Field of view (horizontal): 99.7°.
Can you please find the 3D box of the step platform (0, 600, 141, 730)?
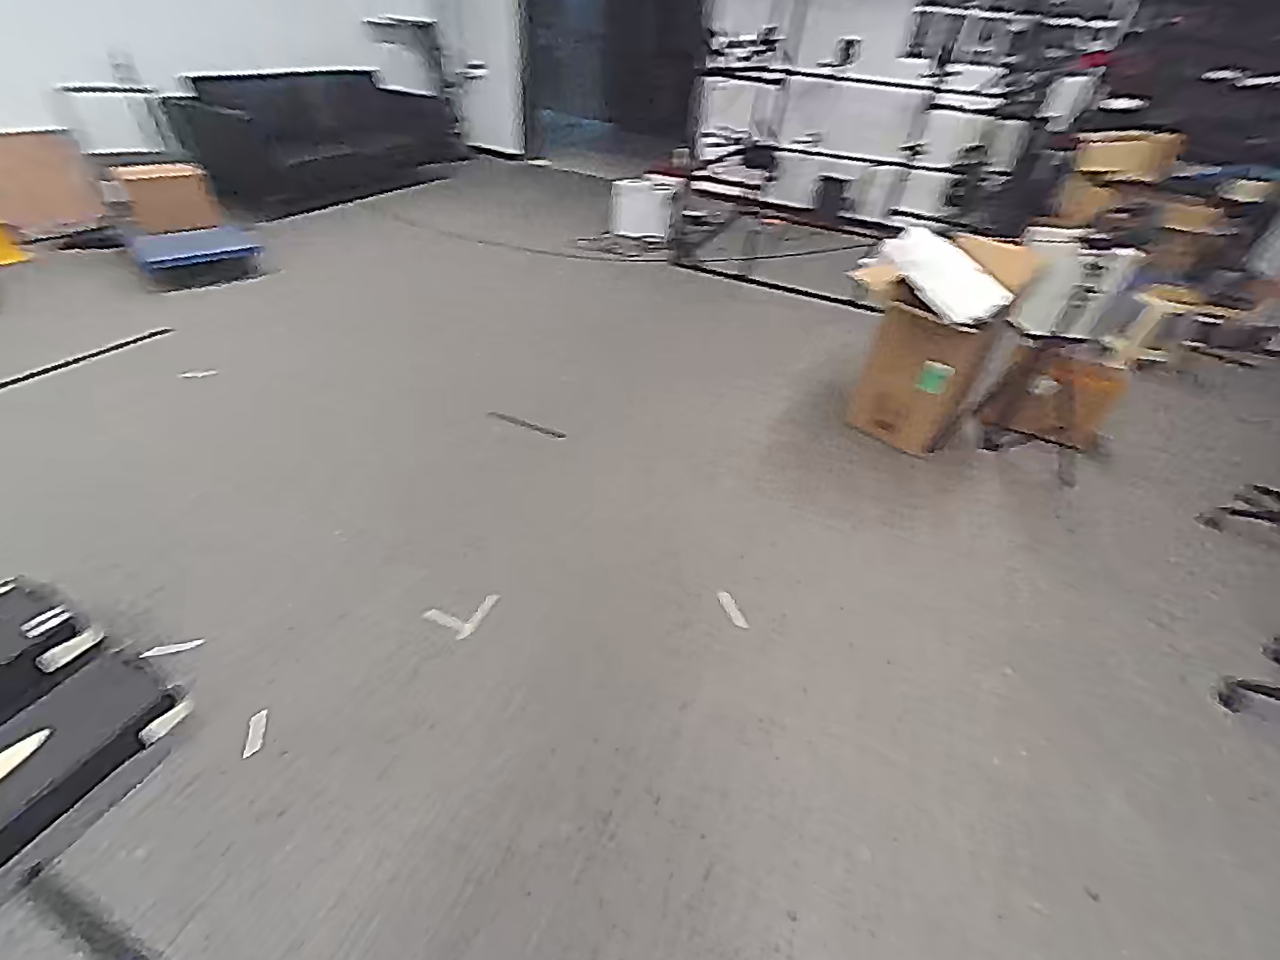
[{"bbox_3d":[-1.582,0.579,1.191,0.286,0.204,0.684,22,40,20],"label":"step platform"}]
